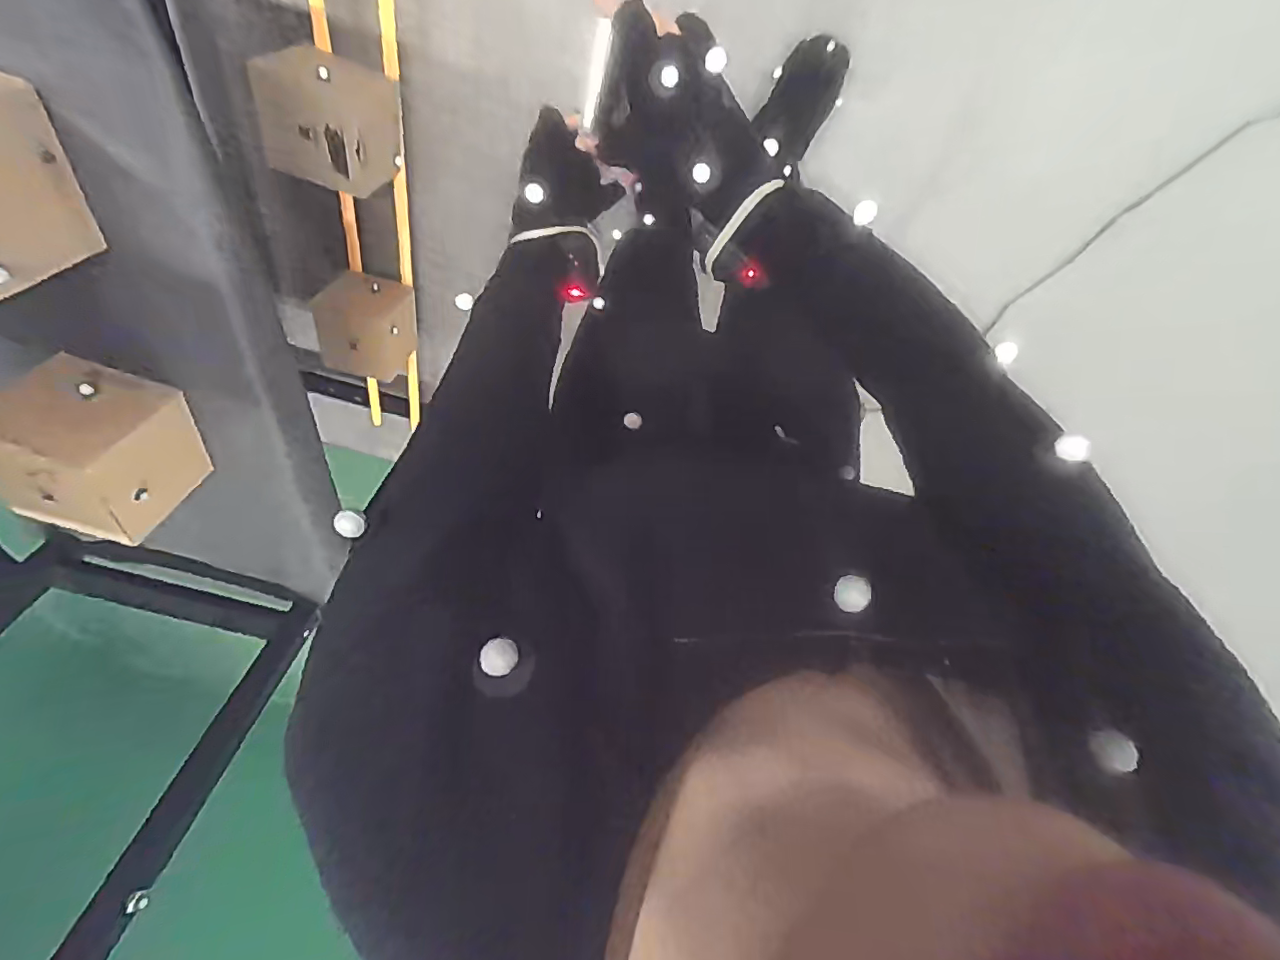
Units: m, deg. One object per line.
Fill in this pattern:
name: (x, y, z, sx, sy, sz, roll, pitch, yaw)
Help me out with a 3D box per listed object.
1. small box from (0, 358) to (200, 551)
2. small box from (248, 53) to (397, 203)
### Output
small box: (-0.767, -0.035, 0.752, 0.168, 0.176, 0.179, 18, 136, -7)
small box: (-0.561, -0.647, 0.989, 0.179, 0.176, 0.168, 18, 135, -7)
